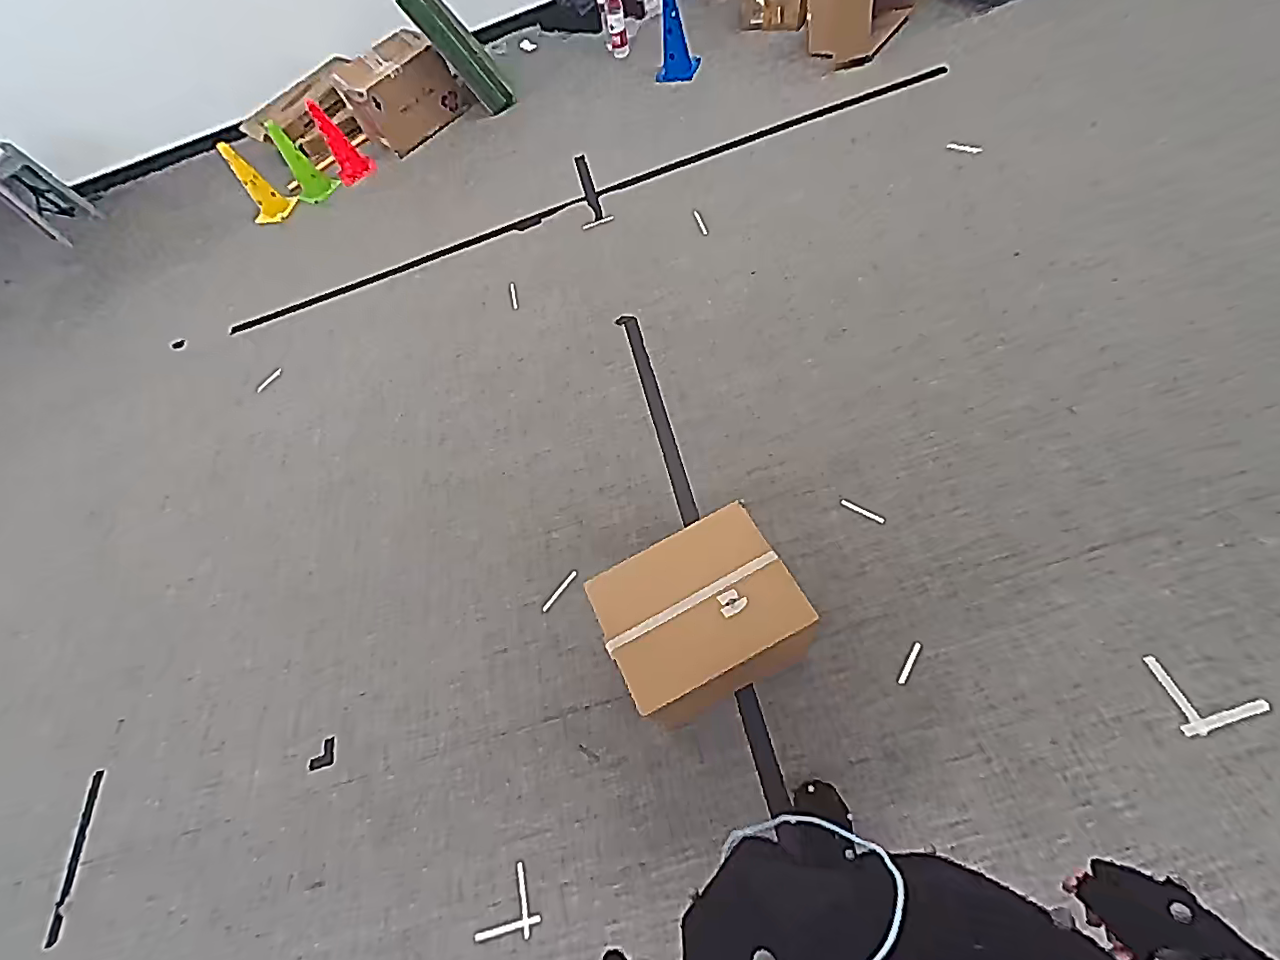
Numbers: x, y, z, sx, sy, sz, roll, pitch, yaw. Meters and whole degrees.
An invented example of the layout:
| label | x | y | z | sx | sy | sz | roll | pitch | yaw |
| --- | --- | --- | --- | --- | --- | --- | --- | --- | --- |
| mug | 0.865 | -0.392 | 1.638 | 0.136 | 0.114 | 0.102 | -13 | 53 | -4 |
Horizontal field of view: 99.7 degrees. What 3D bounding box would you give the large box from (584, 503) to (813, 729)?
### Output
| label | x | y | z | sx | sy | sz | roll | pitch | yaw |
| --- | --- | --- | --- | --- | --- | --- | --- | --- | --- |
| large box | 0.138 | 0.328 | 1.267 | 0.408 | 0.320 | 0.320 | -28 | 60 | -4 |
